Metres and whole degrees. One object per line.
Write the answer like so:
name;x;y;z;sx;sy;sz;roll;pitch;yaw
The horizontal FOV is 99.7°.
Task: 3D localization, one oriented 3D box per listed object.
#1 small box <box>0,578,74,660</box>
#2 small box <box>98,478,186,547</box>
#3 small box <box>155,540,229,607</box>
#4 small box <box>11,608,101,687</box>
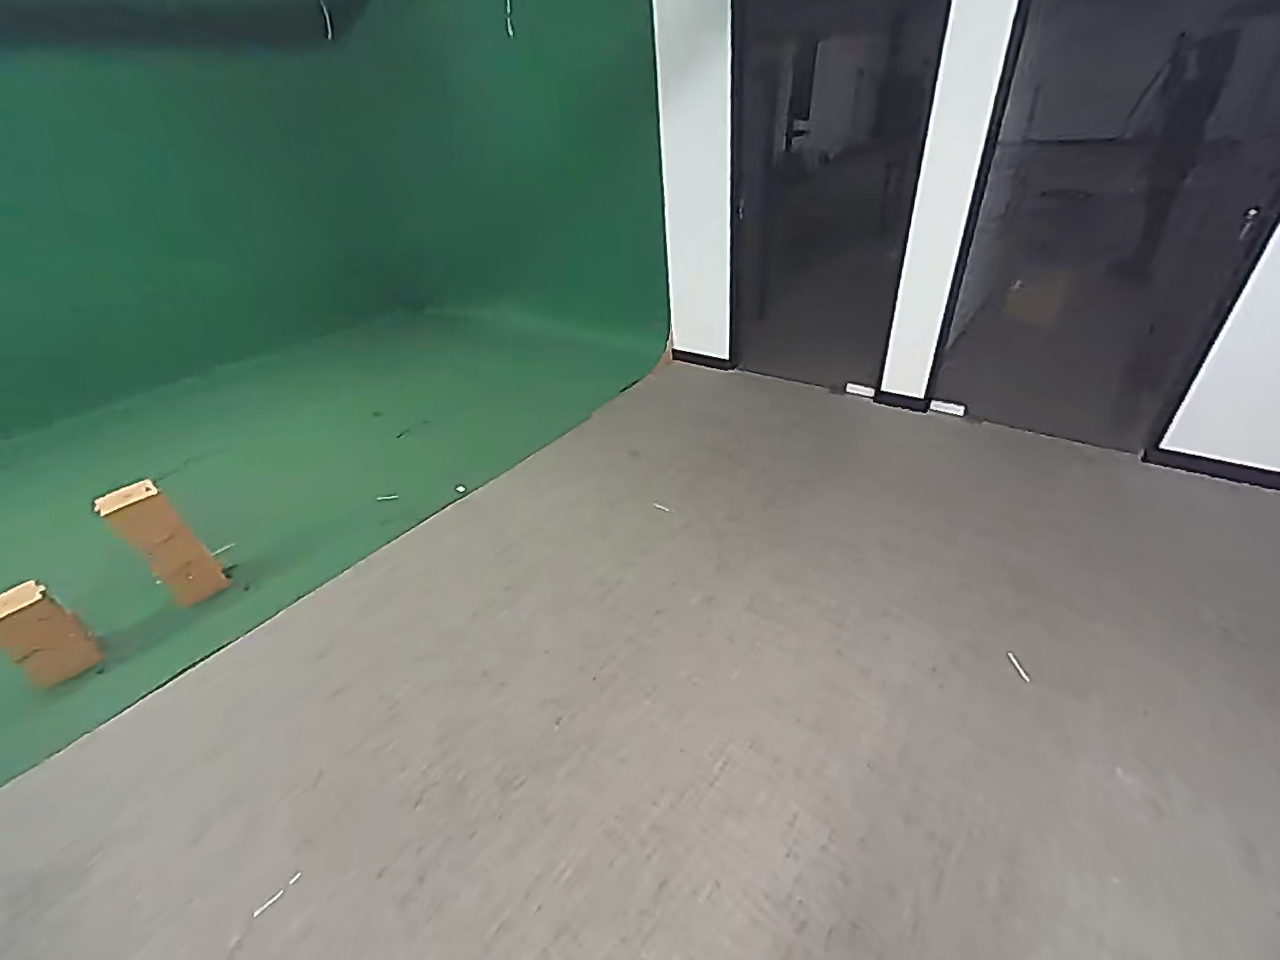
small box;-2.118;0.479;1.864;0.168;0.176;0.179;19;43;32
small box;-1.881;0.126;2.046;0.168;0.176;0.179;23;45;35
small box;-1.845;0.388;2.241;0.168;0.176;0.179;25;46;36
small box;-2.113;0.607;1.964;0.168;0.176;0.179;26;46;38
